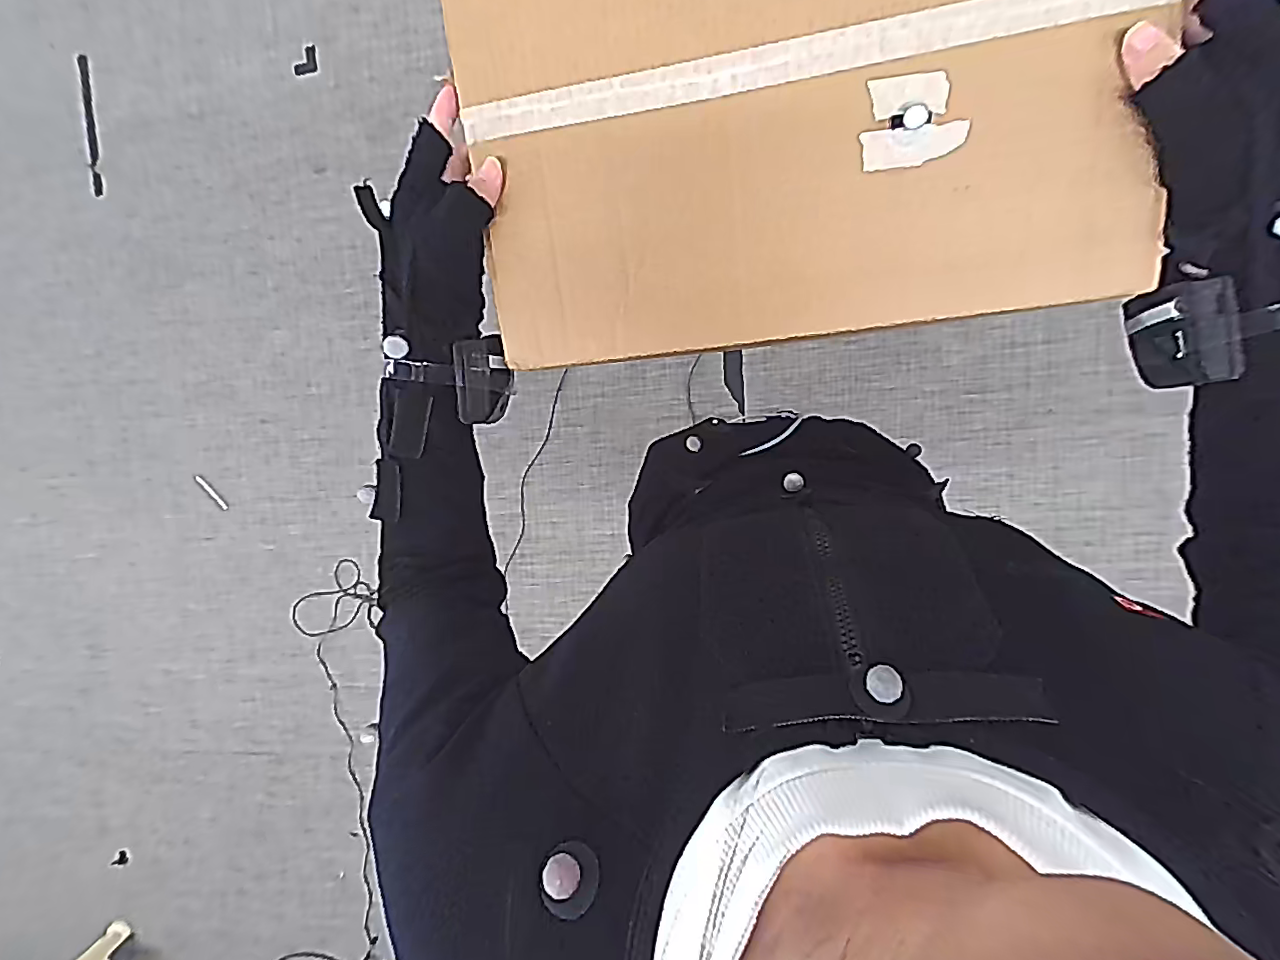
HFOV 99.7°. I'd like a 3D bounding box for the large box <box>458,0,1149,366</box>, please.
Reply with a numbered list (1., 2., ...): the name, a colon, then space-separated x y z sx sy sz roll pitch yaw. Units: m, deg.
1. large box: 0.105 -0.284 0.475 0.408 0.320 0.320 -6 103 8
